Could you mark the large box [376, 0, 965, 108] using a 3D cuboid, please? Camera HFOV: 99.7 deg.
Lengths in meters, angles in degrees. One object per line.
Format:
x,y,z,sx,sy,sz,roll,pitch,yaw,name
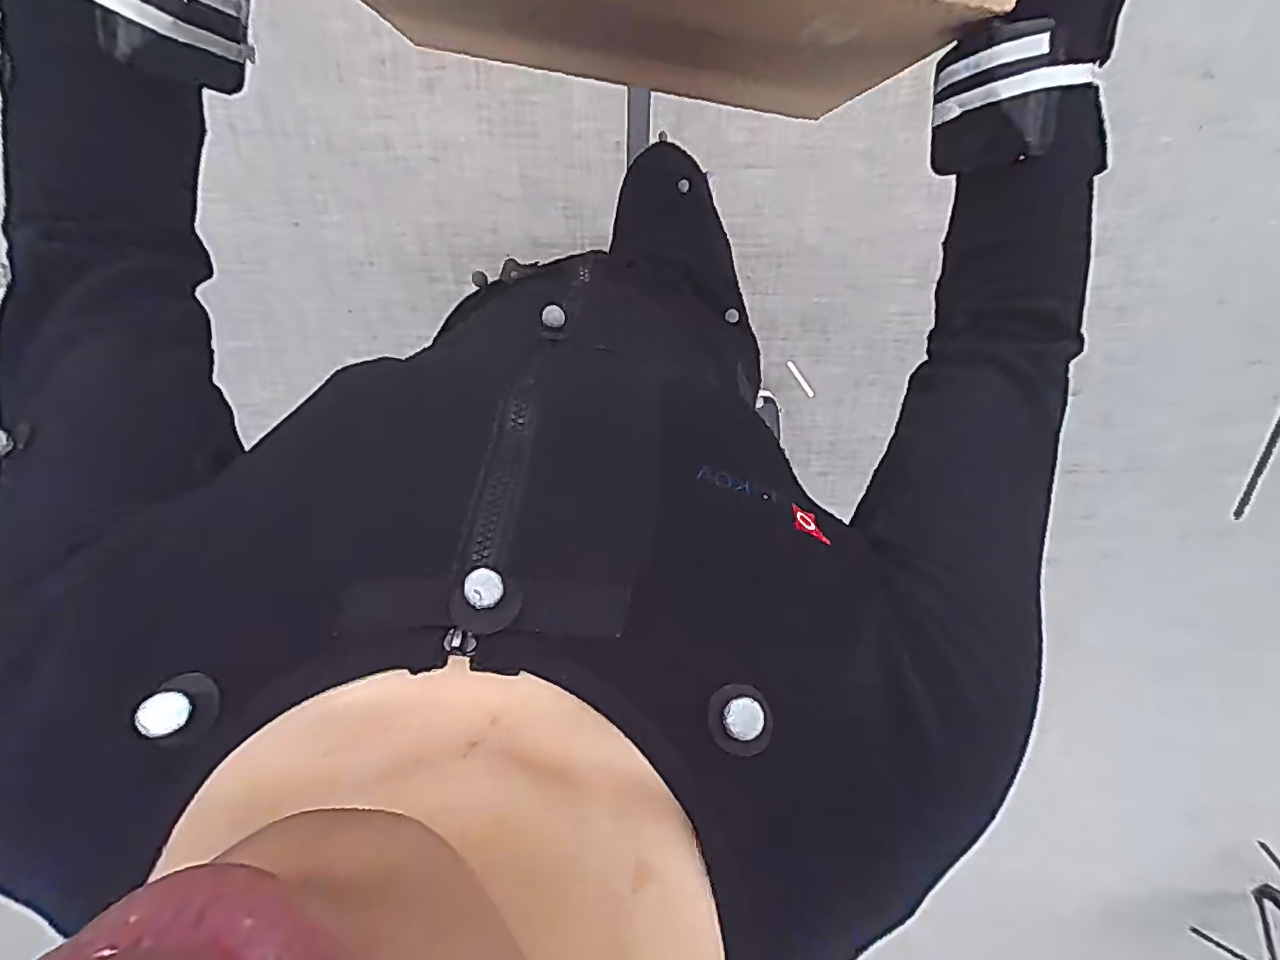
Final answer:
0.006,-0.473,0.339,0.408,0.320,0.320,7,115,-4,large box
